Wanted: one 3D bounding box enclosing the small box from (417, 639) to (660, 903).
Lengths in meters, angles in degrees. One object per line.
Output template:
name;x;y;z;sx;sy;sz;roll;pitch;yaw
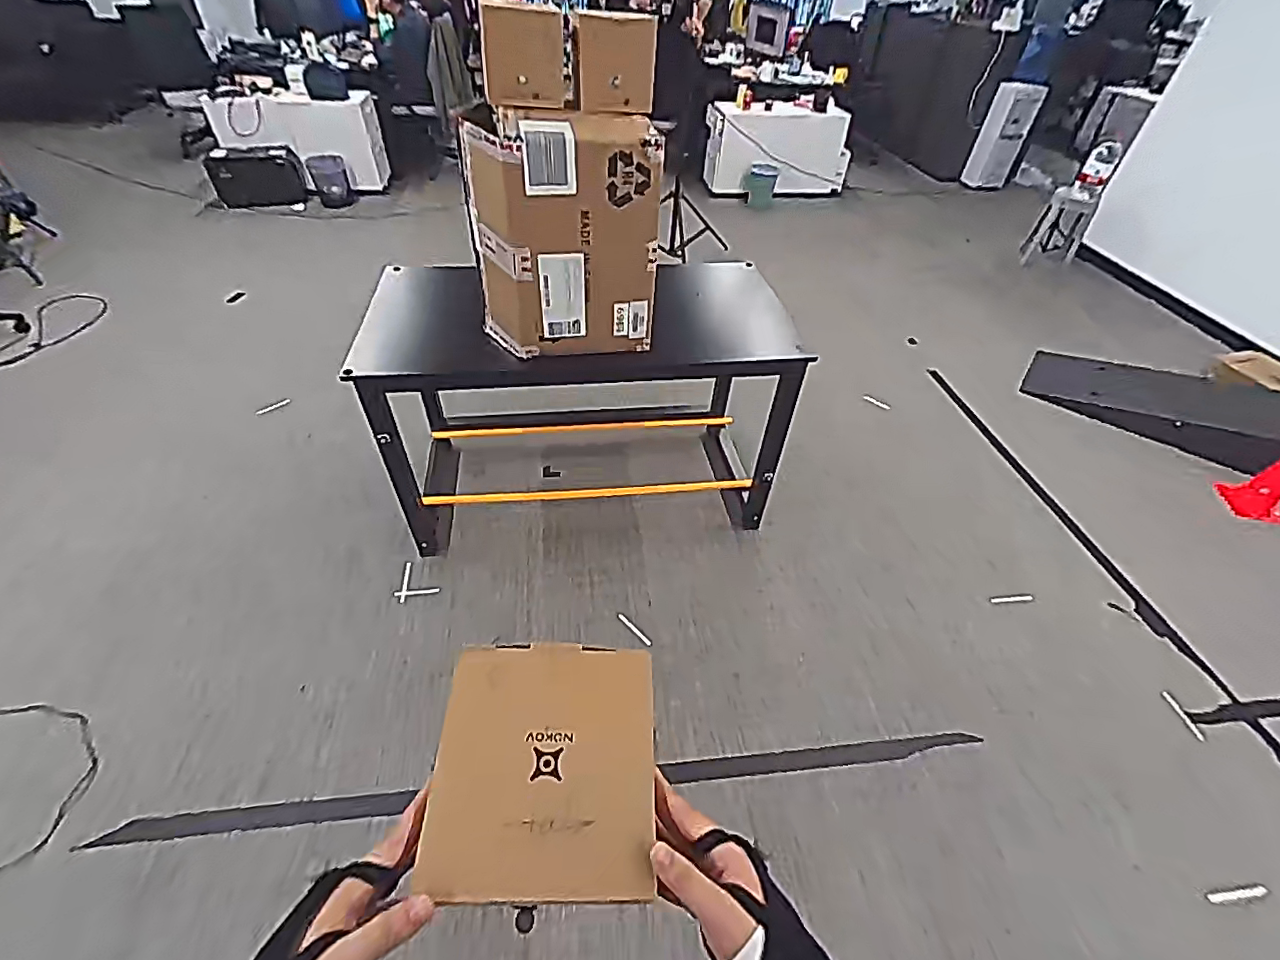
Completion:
small box;-0.077;0.258;0.476;0.168;0.176;0.179;4;51;-5

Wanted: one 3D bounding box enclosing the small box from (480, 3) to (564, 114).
small box;-0.260;-0.929;1.193;0.168;0.176;0.179;-6;44;-13

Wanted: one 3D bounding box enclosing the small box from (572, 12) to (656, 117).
small box;-0.066;-0.945;1.230;0.168;0.176;0.179;-6;44;-10
